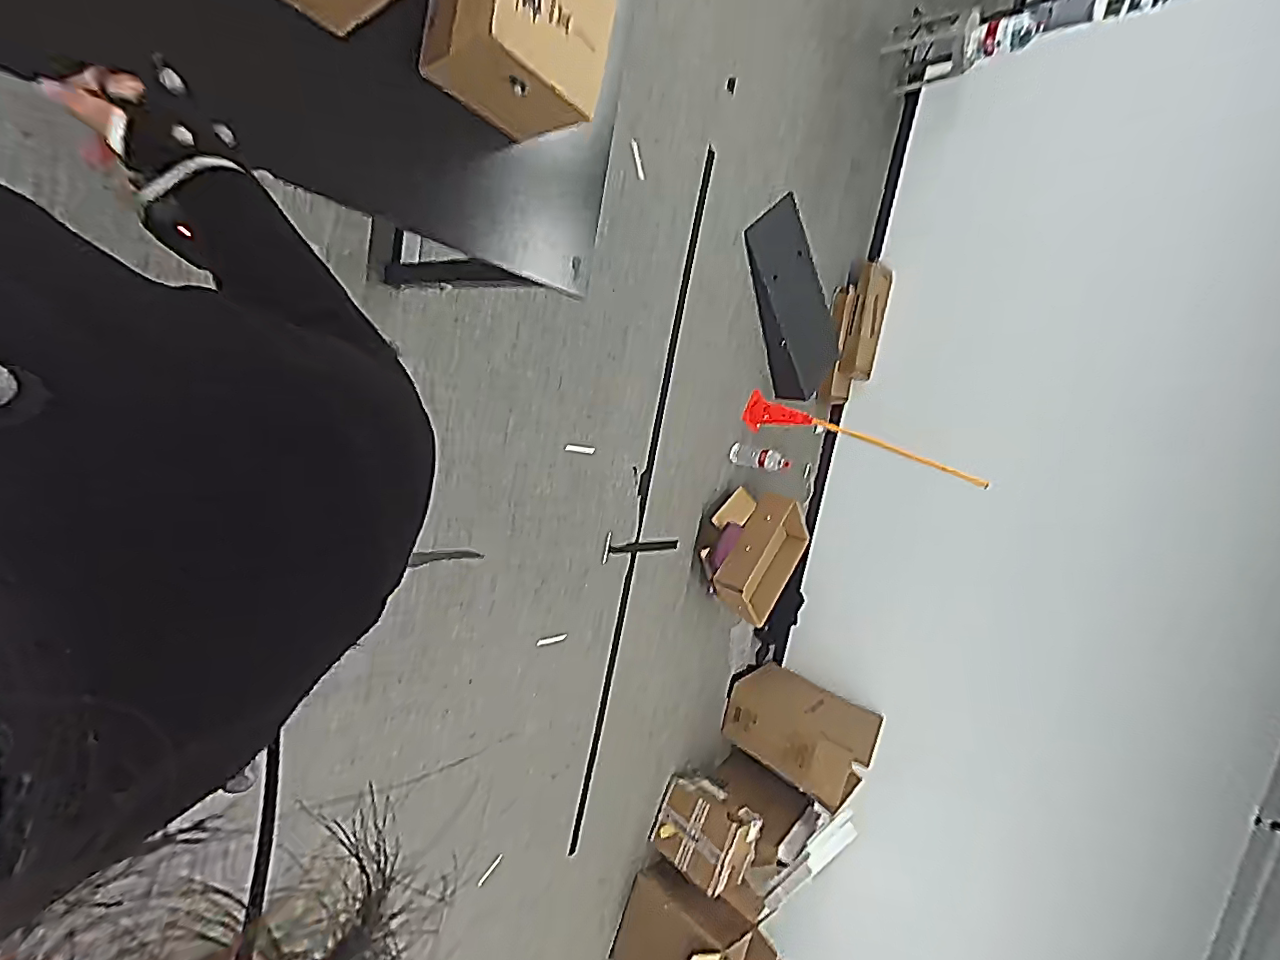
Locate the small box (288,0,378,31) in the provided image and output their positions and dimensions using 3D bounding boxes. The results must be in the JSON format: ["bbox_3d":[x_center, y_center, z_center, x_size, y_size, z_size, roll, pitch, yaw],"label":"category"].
[{"bbox_3d":[-0.337,-0.603,0.535,0.168,0.176,0.179,5,98,-51],"label":"small box"}]

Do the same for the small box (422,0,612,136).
[{"bbox_3d":[-0.168,-0.602,0.734,0.179,0.176,0.168,6,98,-51],"label":"small box"}]
